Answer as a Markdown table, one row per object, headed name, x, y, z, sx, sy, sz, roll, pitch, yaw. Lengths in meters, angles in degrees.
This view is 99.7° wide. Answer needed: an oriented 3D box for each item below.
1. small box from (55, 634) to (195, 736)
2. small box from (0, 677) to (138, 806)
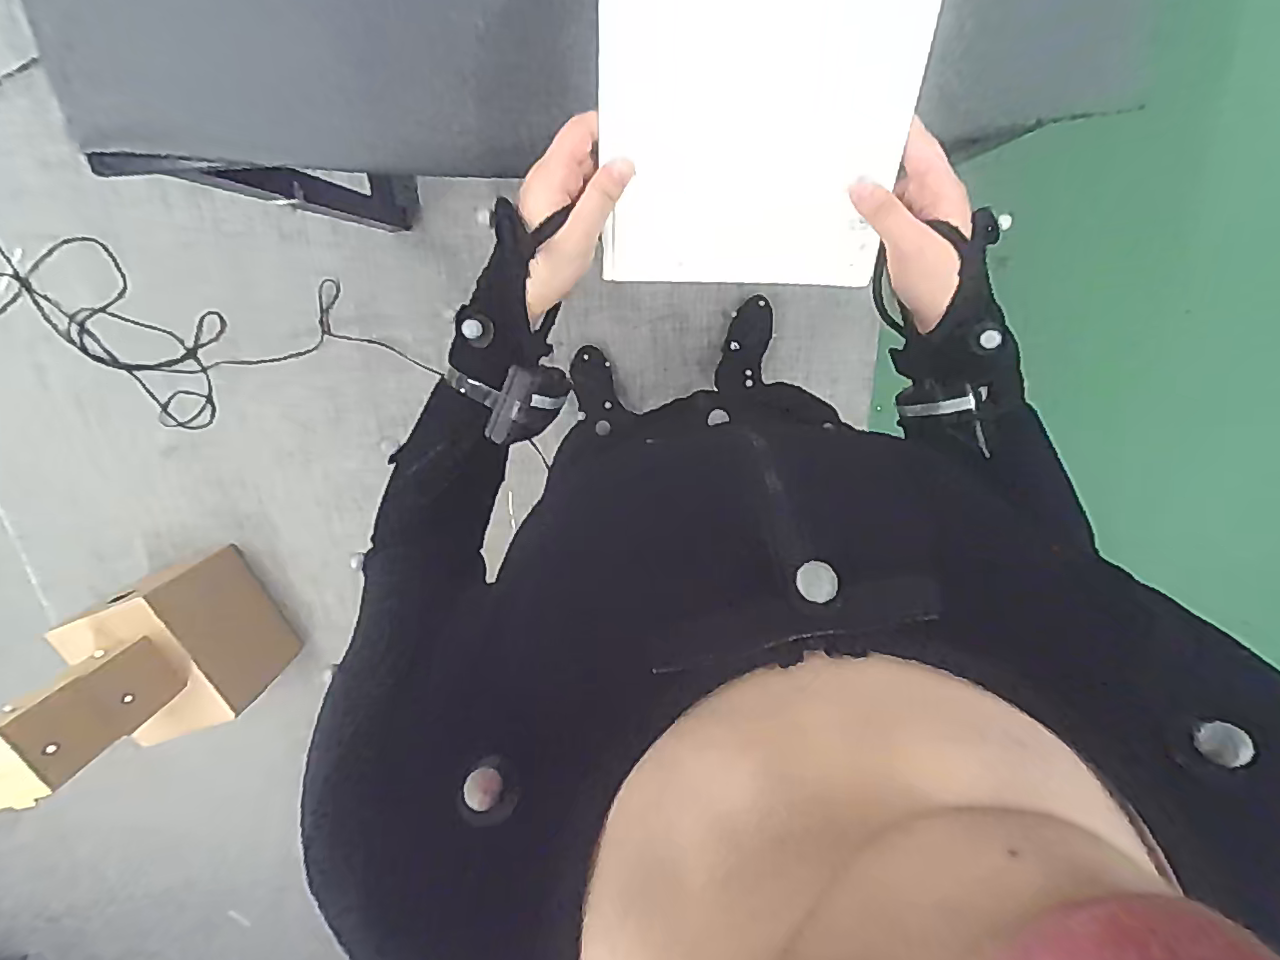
| name | x | y | z | sx | sy | sz | roll | pitch | yaw |
| --- | --- | --- | --- | --- | --- | --- | --- | --- | --- |
| small box | -1.264 | 0.515 | 1.331 | 0.168 | 0.176 | 0.179 | -20 | 106 | 7 |
| small box | -1.272 | 0.554 | 1.173 | 0.168 | 0.176 | 0.179 | -19 | 107 | 7 |
